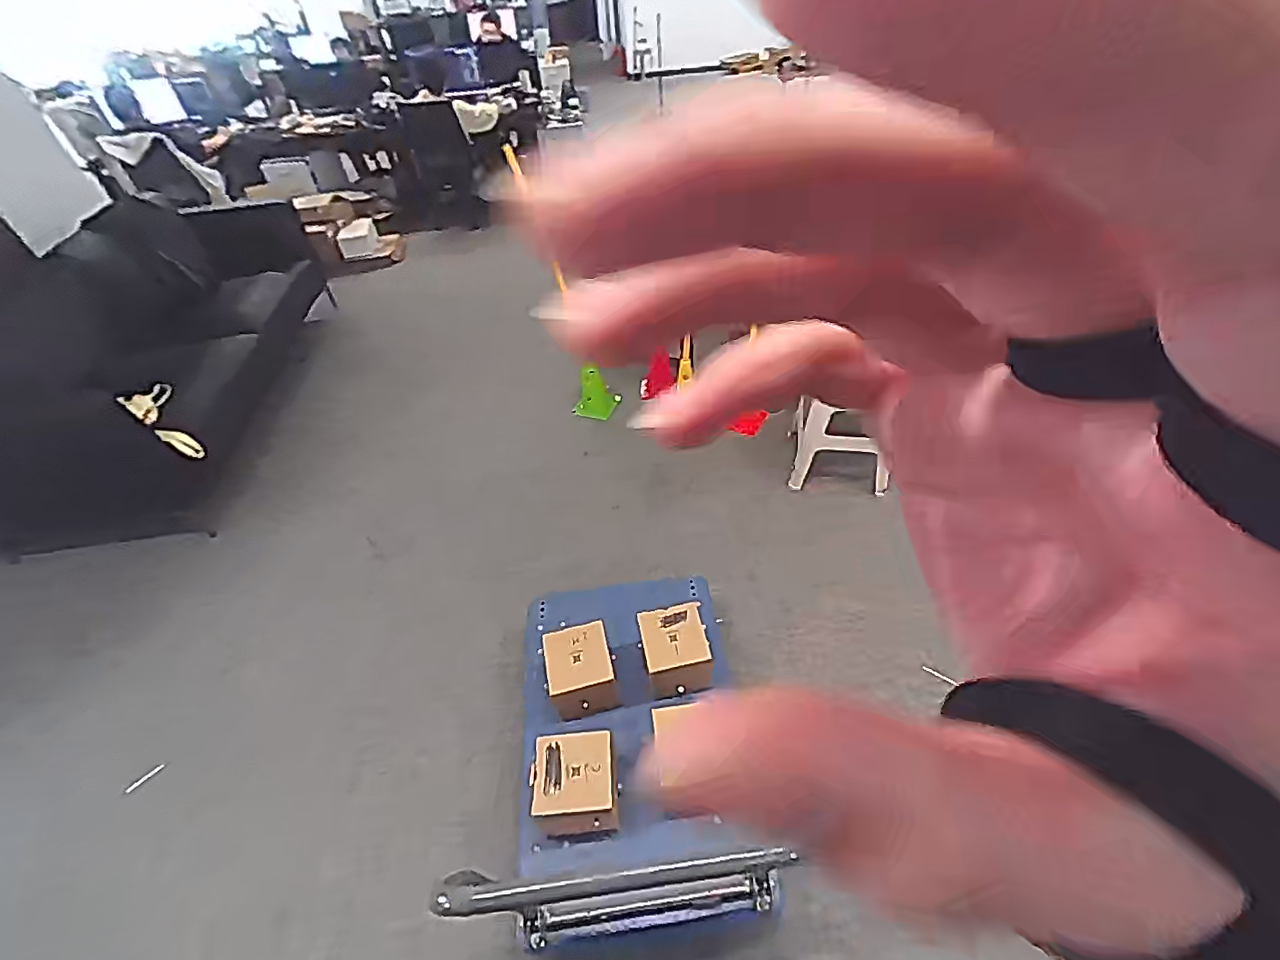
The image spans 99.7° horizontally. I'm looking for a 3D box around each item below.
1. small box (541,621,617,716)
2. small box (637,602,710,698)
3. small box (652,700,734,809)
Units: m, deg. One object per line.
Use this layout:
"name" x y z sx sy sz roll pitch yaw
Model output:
"small box" -0.161 0.512 1.454 0.168 0.176 0.179 -12 45 -7
"small box" 0.089 0.465 1.476 0.168 0.176 0.179 -11 46 -4
"small box" 0.121 0.652 1.285 0.168 0.176 0.179 -8 45 -2
